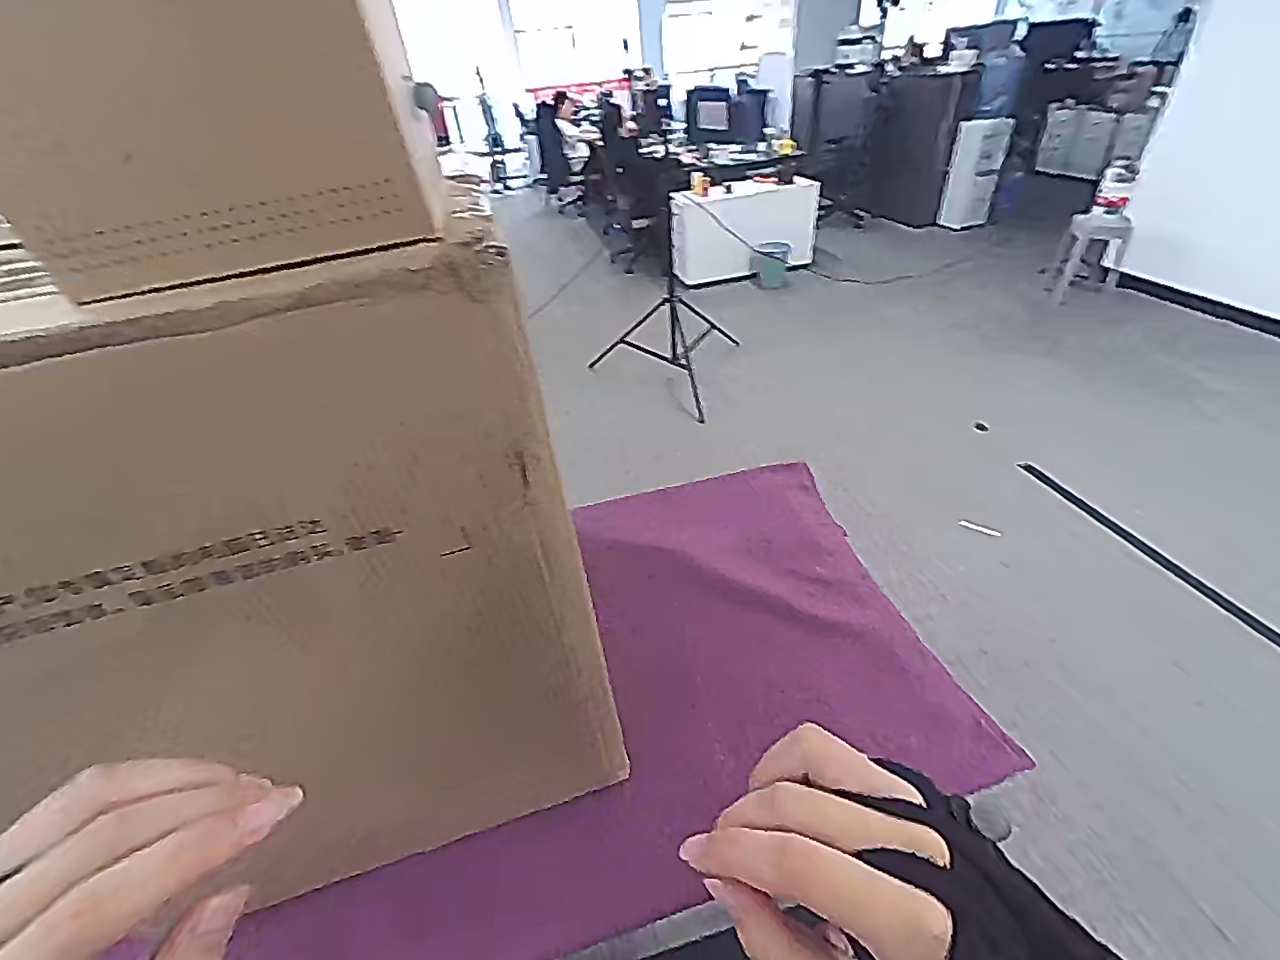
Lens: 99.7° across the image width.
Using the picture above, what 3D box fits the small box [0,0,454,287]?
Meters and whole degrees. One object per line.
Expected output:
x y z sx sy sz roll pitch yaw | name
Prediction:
-0.210 -0.212 0.273 0.179 0.176 0.168 -14 40 -8 | small box
